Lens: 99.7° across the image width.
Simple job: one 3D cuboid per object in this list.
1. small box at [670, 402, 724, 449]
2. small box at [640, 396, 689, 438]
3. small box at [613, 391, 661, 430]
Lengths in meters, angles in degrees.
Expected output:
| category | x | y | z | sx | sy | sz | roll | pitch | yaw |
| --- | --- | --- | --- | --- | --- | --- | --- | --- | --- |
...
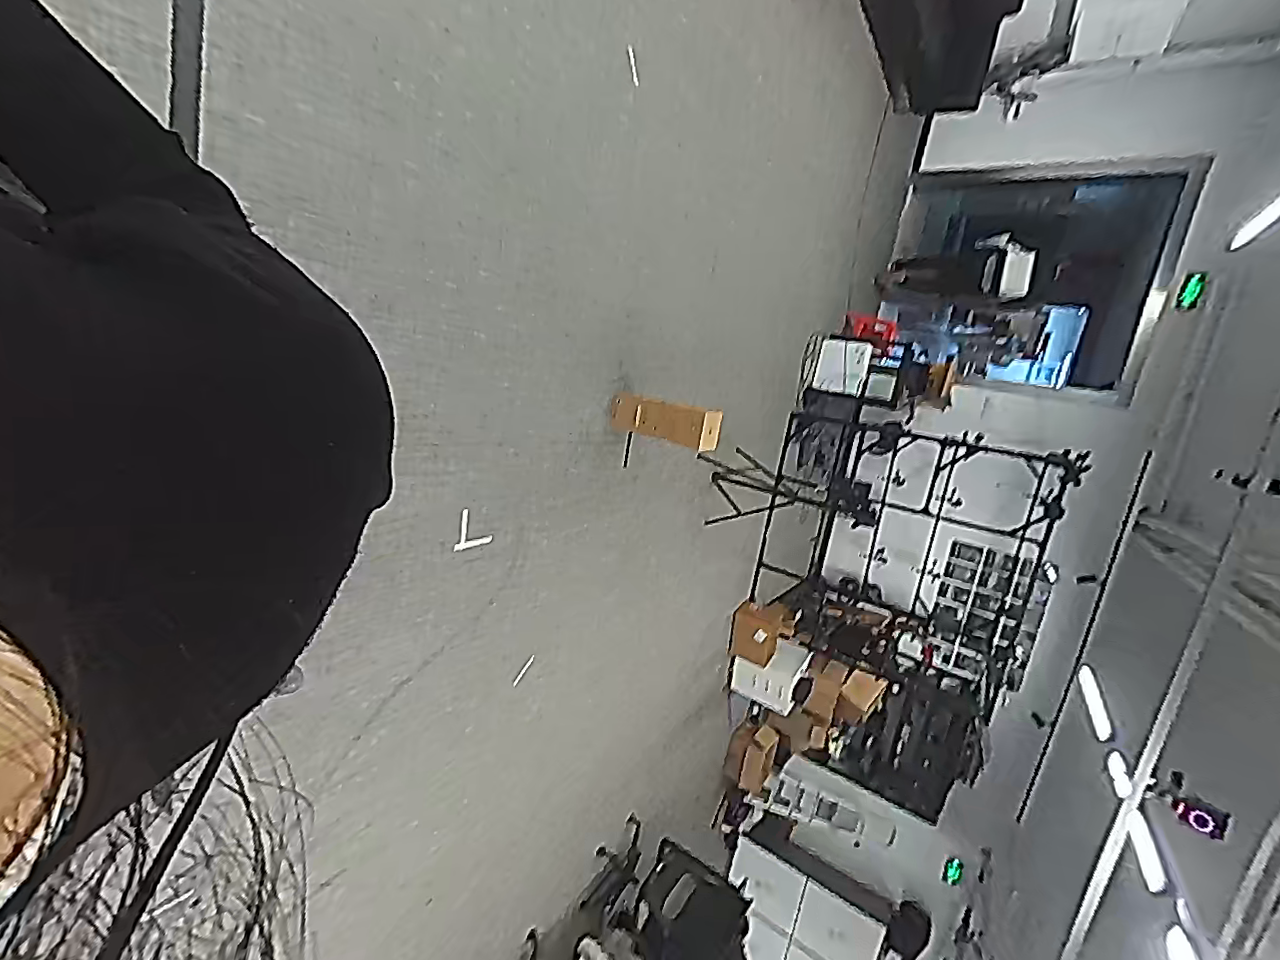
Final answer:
| category | x | y | z | sx | sy | sz | roll | pitch | yaw |
| --- | --- | --- | --- | --- | --- | --- | --- | --- | --- |
| small box | 0.251 | -0.248 | 2.431 | 0.168 | 0.176 | 0.179 | -11 | 114 | -54 |
| small box | 0.119 | -0.292 | 2.515 | 0.179 | 0.176 | 0.168 | -11 | 115 | -56 |
| small box | -0.013 | -0.334 | 2.599 | 0.179 | 0.176 | 0.168 | -10 | 112 | -56 |
